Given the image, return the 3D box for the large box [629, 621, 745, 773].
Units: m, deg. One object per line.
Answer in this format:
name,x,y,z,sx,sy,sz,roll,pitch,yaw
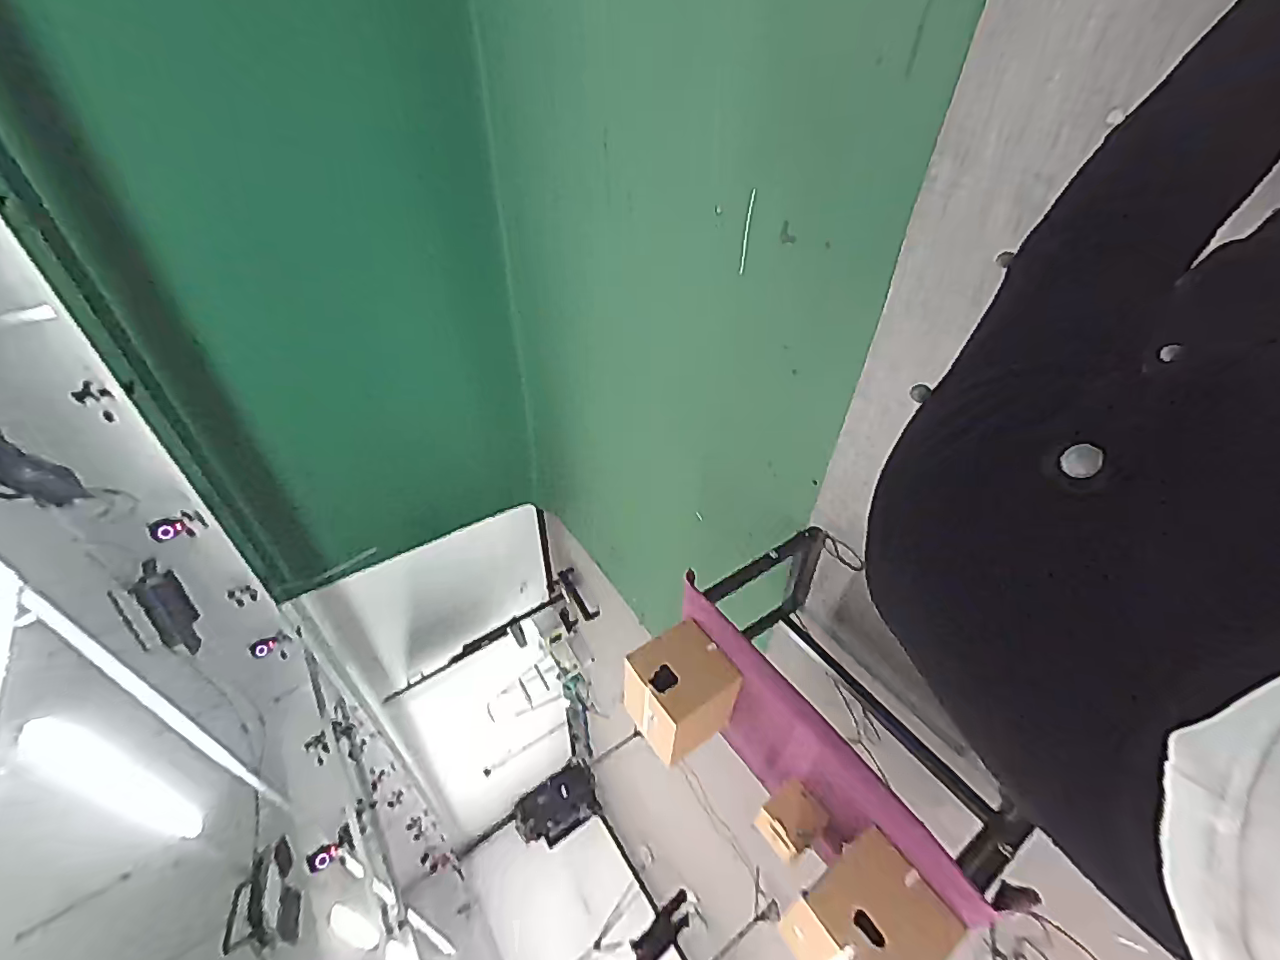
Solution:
large box,0.167,0.826,2.070,0.320,0.320,0.408,43,145,36
